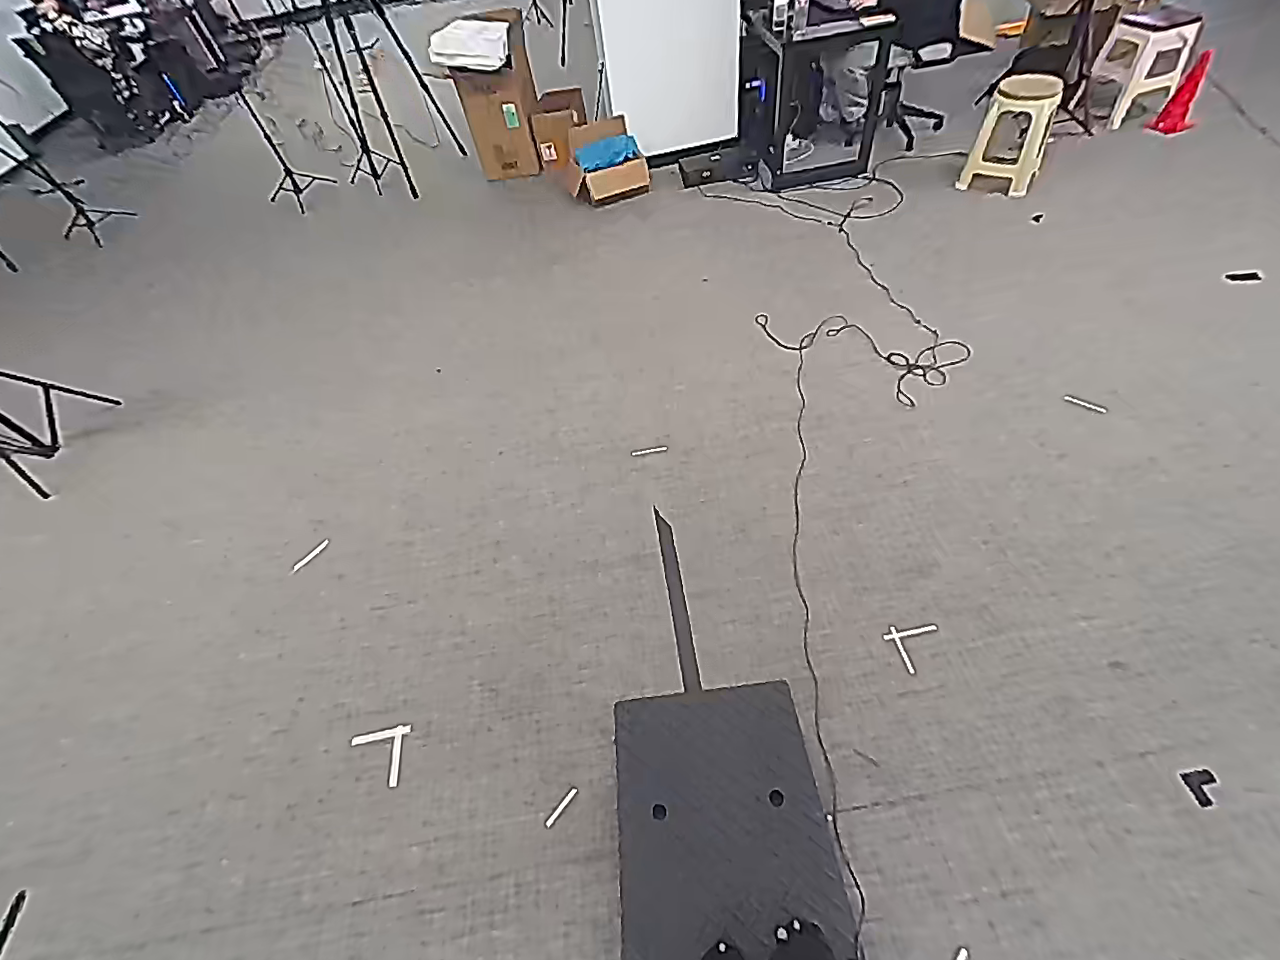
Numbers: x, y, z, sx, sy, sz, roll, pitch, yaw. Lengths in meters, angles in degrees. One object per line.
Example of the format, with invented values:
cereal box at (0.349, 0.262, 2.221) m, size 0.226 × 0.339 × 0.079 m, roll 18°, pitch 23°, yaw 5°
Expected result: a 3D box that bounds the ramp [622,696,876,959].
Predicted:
ramp at (0.224, 0.956, 1.133) m, size 0.509 × 0.206 × 0.991 m, roll -12°, pitch 49°, yaw 2°
